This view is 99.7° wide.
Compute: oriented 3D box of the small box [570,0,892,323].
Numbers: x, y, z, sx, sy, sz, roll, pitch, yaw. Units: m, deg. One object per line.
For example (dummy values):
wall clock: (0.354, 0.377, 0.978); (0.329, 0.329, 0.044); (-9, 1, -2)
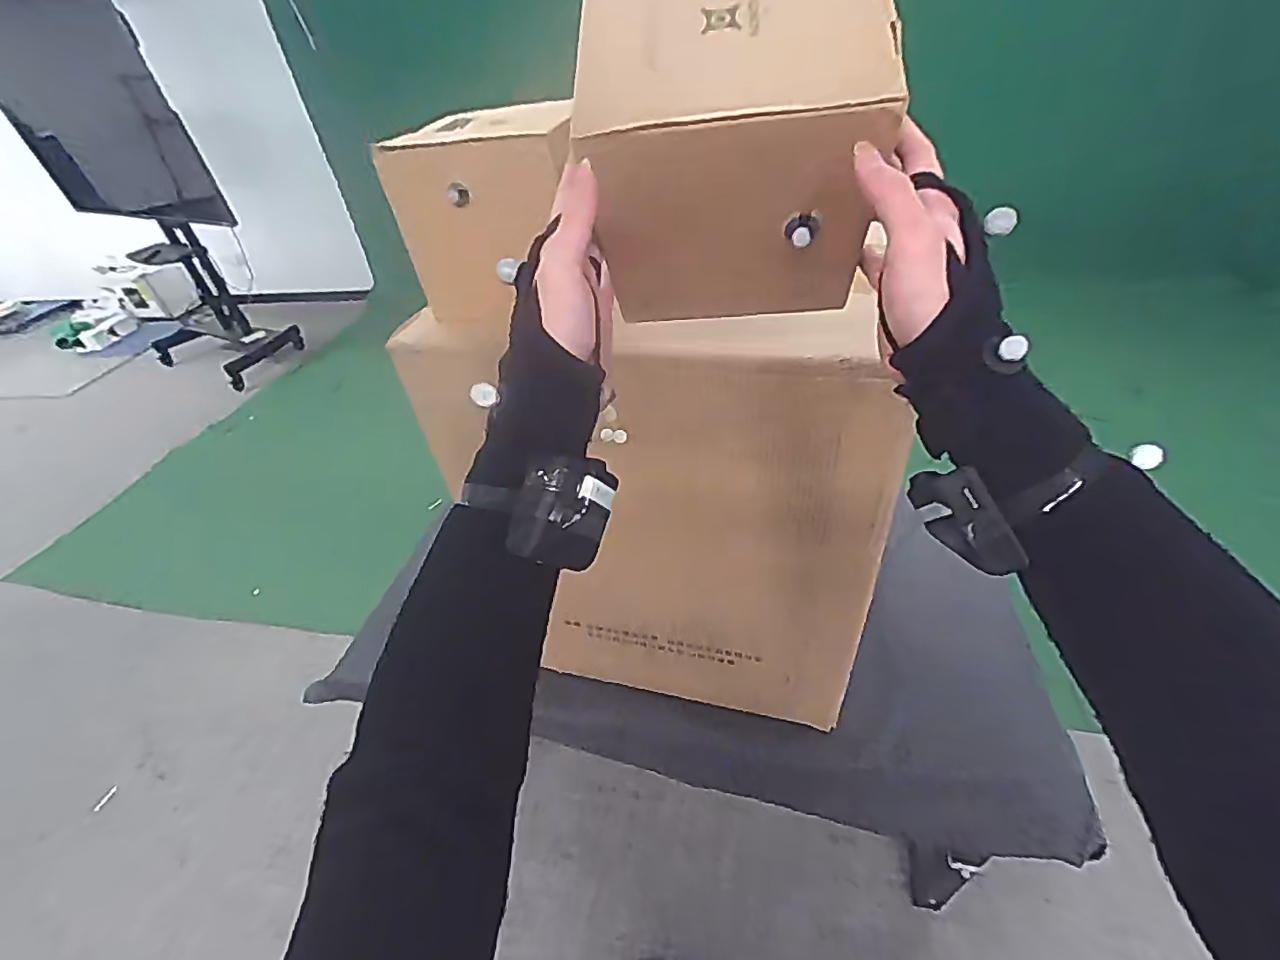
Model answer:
small box: (0.063, -0.234, 0.393); (0.179, 0.176, 0.168); (-1, 70, 11)

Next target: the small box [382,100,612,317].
small box: (-0.129, -0.291, 0.591); (0.179, 0.176, 0.168); (5, 46, 17)
